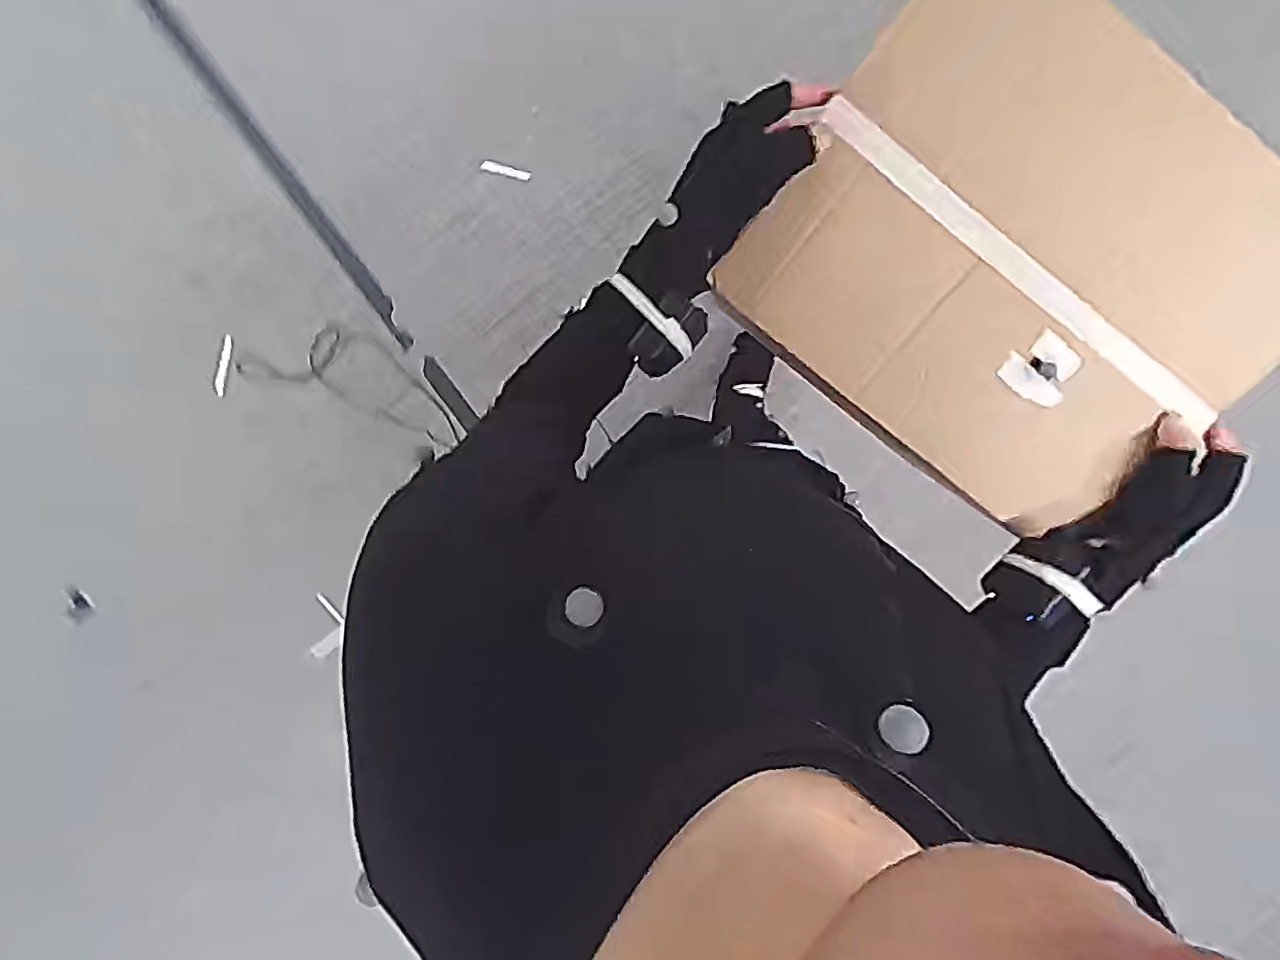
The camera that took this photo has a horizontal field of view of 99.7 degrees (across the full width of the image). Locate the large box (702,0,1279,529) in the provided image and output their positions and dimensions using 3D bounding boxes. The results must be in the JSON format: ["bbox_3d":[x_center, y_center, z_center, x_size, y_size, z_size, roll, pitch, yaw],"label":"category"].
[{"bbox_3d":[0.315,-0.223,0.592,0.408,0.320,0.320,37,108,-6],"label":"large box"}]
